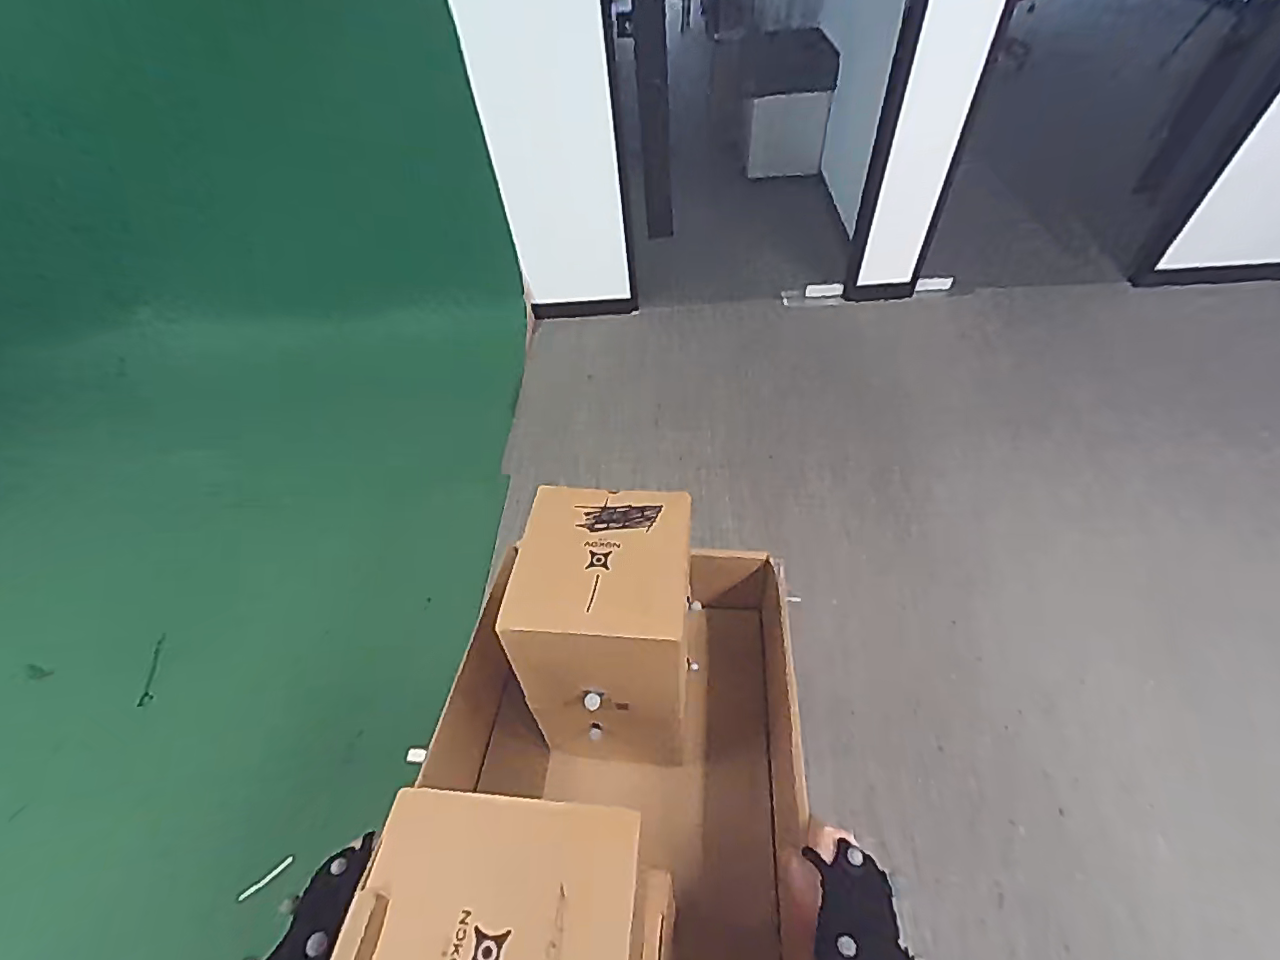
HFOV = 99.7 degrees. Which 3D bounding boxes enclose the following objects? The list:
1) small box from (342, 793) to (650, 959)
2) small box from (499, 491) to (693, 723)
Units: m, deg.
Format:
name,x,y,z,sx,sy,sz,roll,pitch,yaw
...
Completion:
name,x,y,z,sx,sy,sz,roll,pitch,yaw
small box,-0.088,0.341,0.377,0.179,0.176,0.168,2,45,5
small box,-0.032,0.134,0.579,0.168,0.176,0.179,2,46,7
